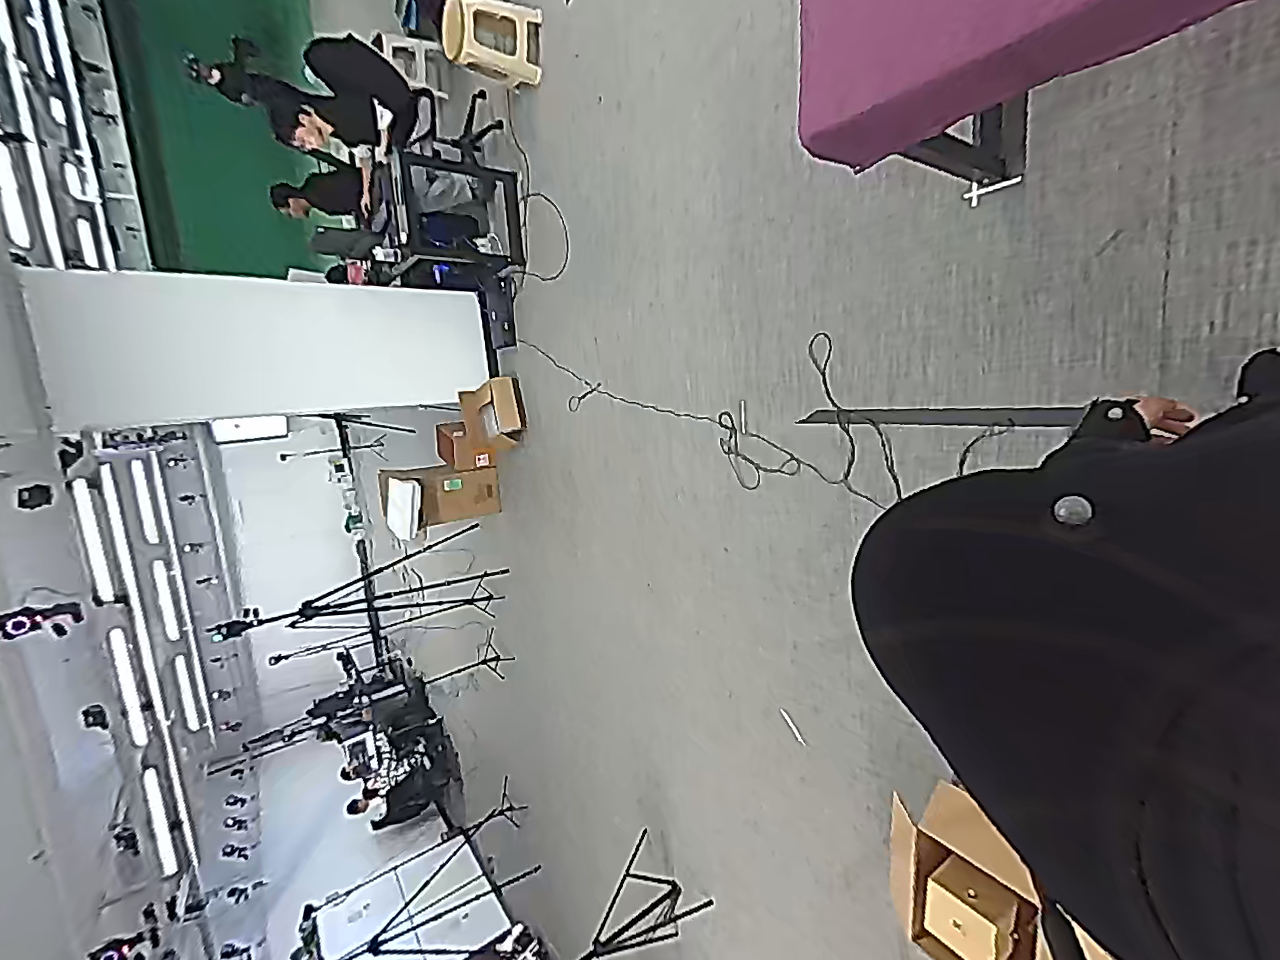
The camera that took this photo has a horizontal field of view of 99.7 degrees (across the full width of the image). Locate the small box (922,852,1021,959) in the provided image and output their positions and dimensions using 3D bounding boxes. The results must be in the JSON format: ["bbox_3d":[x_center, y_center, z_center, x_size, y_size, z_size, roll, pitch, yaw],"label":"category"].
[{"bbox_3d":[0.912,1.176,1.492,0.179,0.176,0.168,13,107,53],"label":"small box"}]
